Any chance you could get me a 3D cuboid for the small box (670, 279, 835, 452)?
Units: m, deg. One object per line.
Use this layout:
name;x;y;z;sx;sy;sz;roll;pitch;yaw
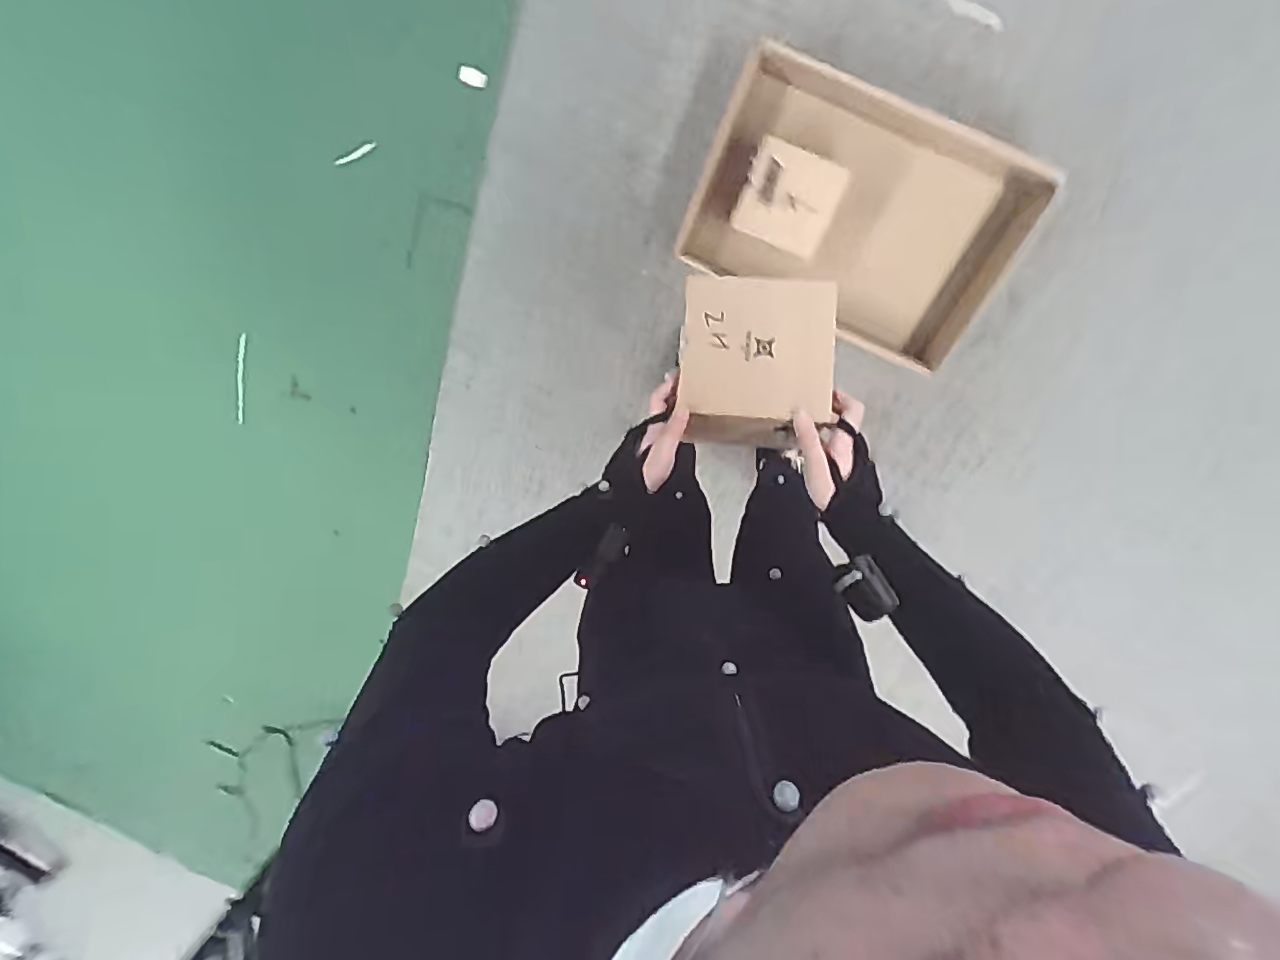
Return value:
small box;0.134;-0.135;0.689;0.179;0.176;0.168;5;82;6
